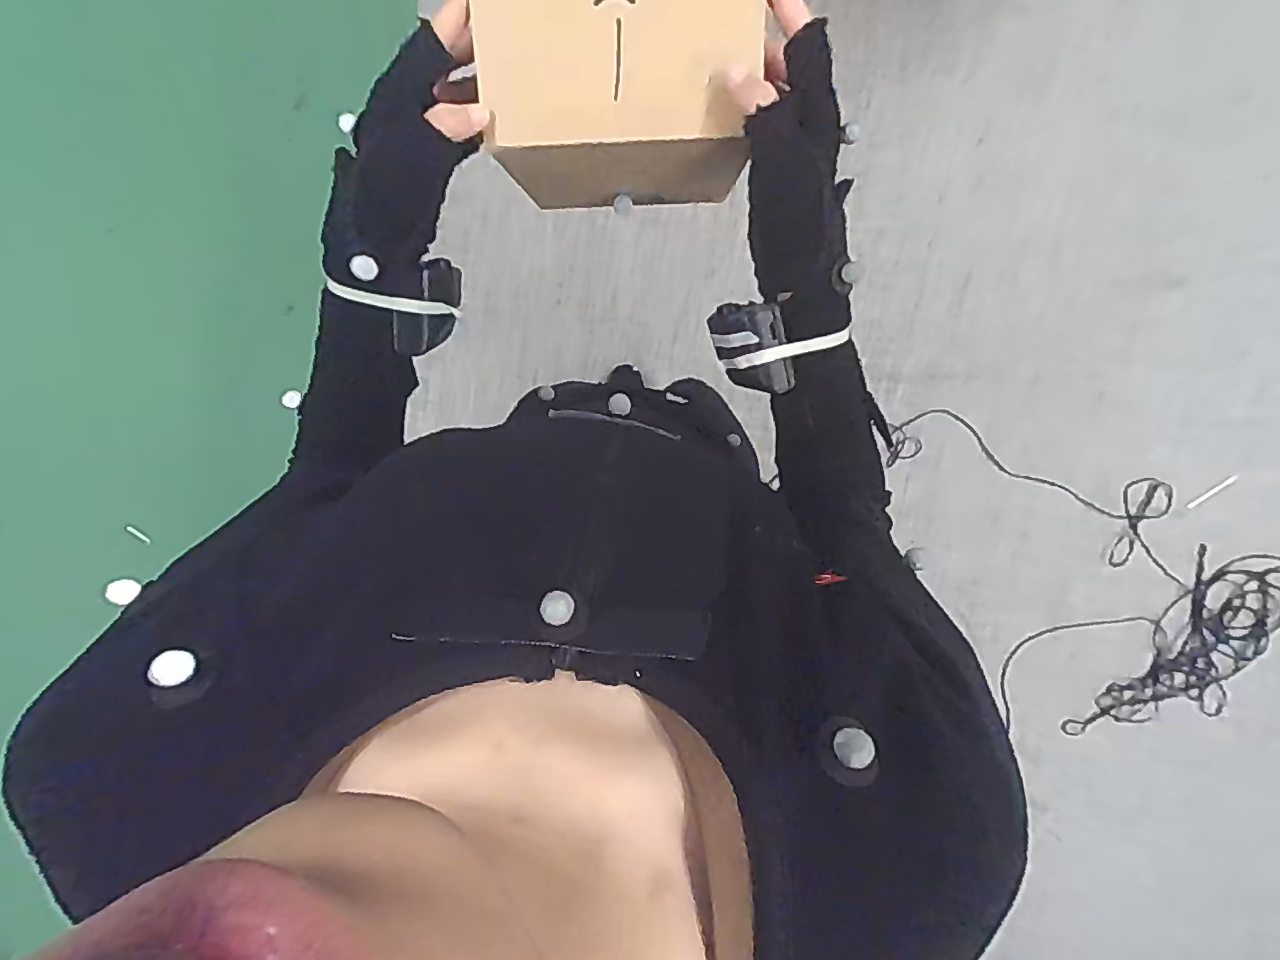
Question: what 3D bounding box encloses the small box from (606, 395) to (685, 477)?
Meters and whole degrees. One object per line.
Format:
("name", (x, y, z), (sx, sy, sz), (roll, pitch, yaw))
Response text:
("small box", (0.008, -0.120, 1.412), (0.168, 0.176, 0.179), (11, 97, -8))
